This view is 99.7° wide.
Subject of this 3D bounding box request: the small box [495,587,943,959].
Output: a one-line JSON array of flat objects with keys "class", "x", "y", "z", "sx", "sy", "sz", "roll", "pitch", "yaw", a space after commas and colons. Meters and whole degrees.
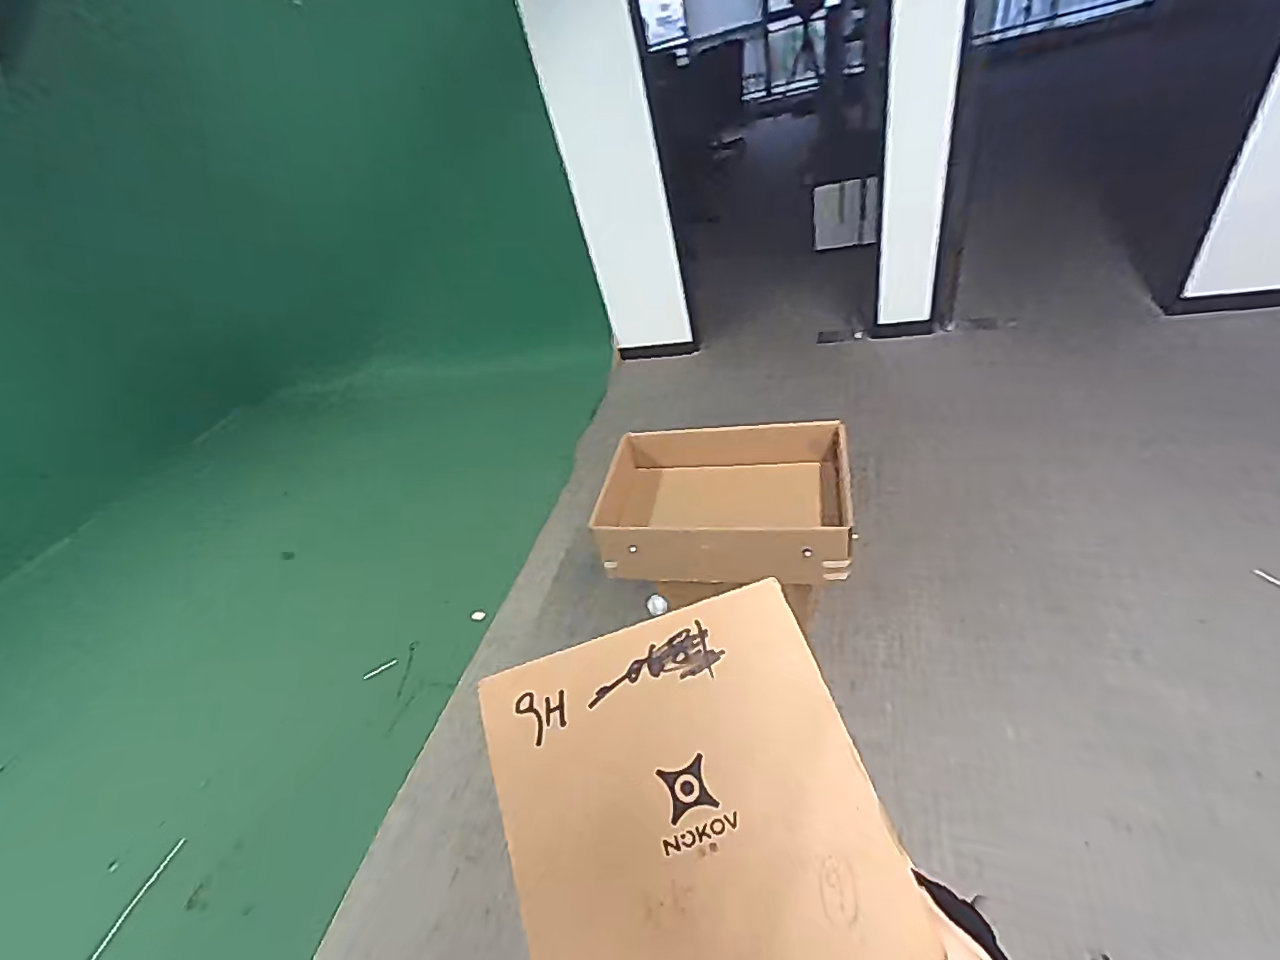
[{"class": "small box", "x": 0.028, "y": 0.185, "z": 0.325, "sx": 0.168, "sy": 0.176, "sz": 0.179, "roll": -16, "pitch": 67, "yaw": -8}]
